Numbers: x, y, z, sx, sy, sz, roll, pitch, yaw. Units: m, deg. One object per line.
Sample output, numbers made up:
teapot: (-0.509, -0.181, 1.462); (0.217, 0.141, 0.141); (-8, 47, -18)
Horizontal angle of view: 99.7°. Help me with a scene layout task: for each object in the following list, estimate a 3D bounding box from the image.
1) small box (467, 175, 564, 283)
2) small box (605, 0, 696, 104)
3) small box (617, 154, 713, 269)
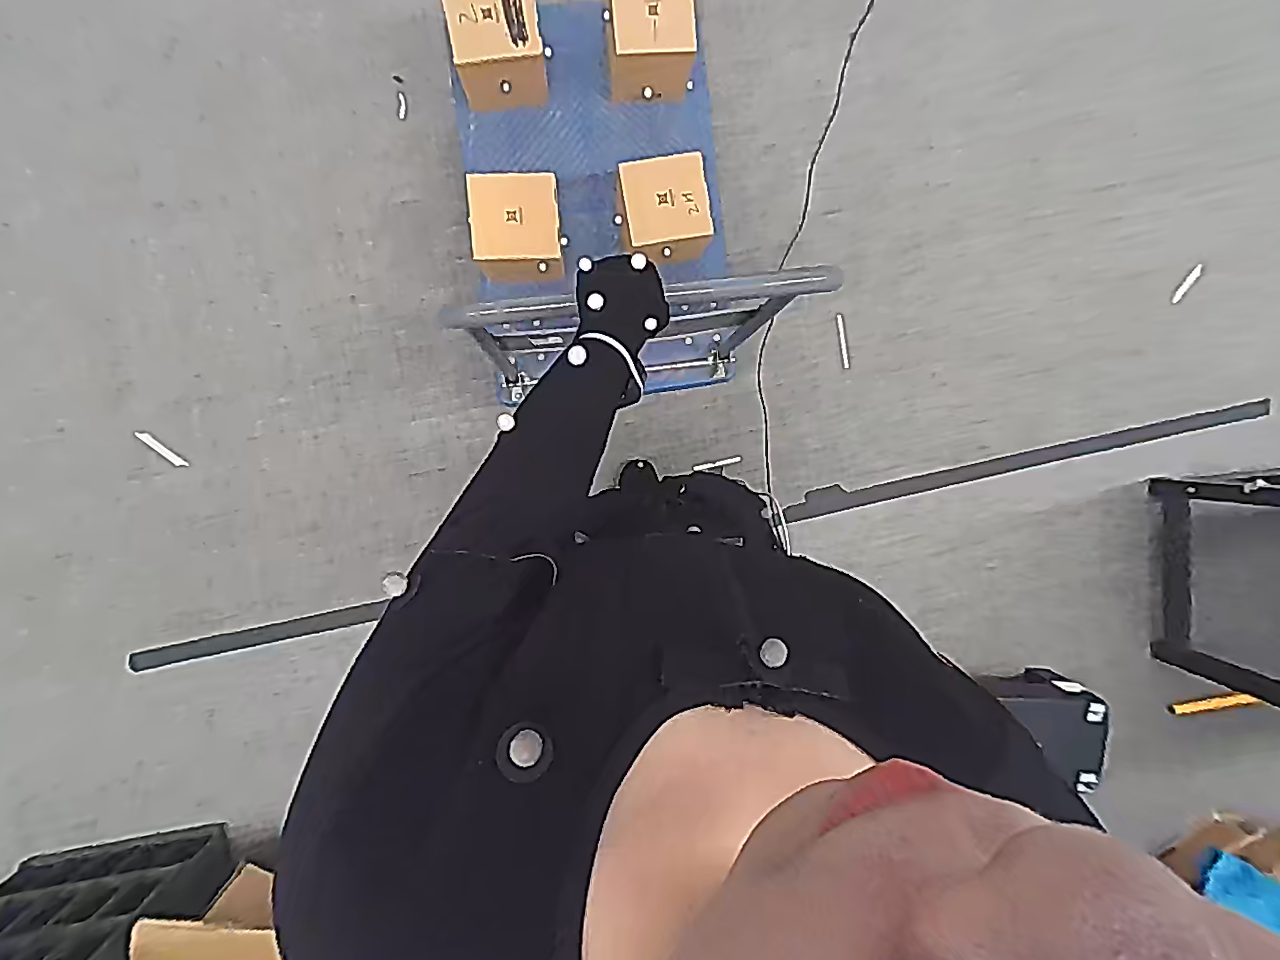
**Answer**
small box: (-0.258, -0.528, 1.157); (0.179, 0.176, 0.168); (-5, 95, -7)
small box: (0.017, -0.940, 1.147); (0.168, 0.176, 0.179); (-6, 96, -5)
small box: (0.047, -0.575, 1.181); (0.179, 0.176, 0.168); (-11, 96, -4)
